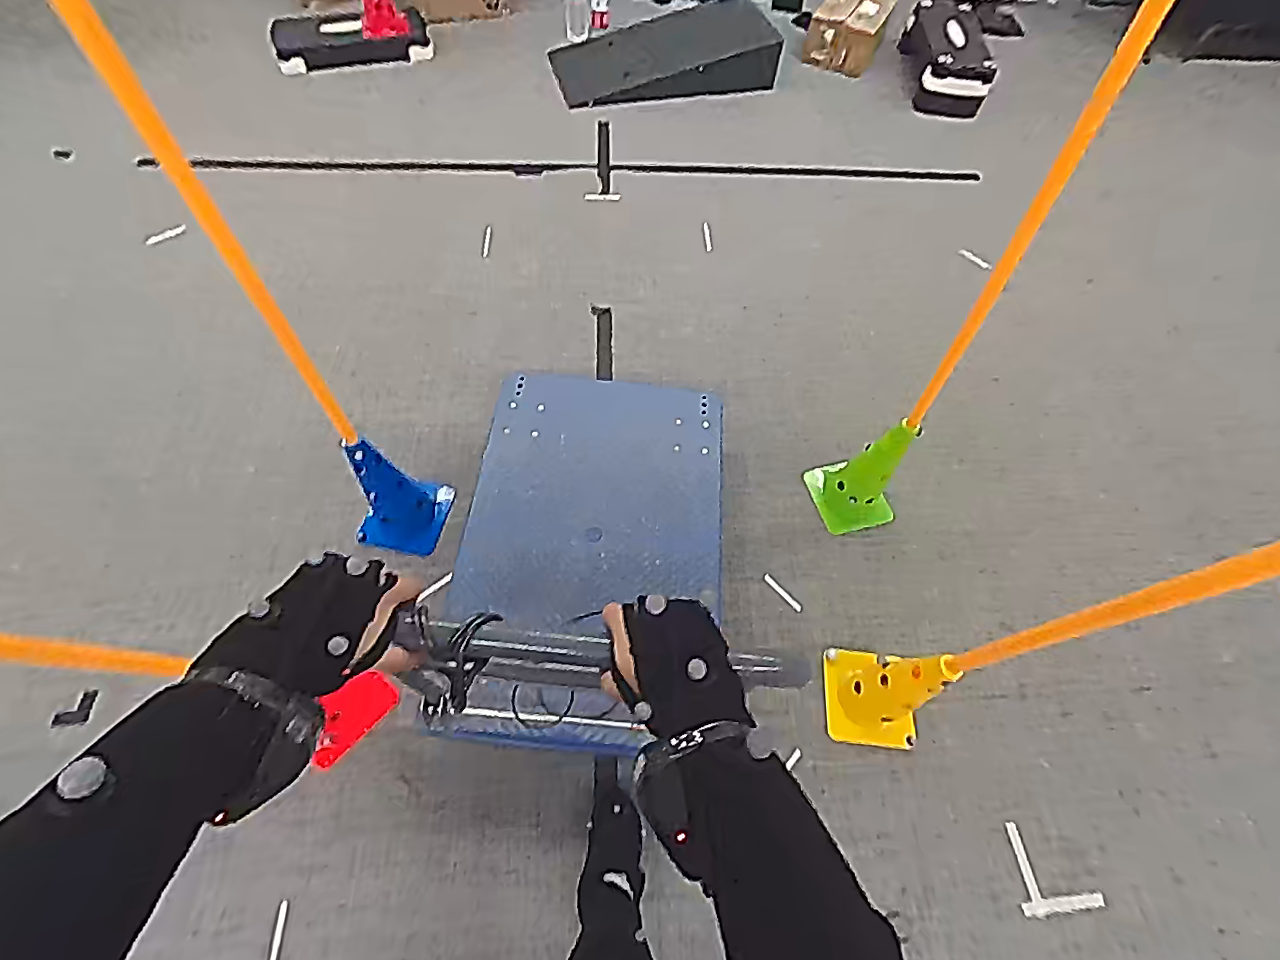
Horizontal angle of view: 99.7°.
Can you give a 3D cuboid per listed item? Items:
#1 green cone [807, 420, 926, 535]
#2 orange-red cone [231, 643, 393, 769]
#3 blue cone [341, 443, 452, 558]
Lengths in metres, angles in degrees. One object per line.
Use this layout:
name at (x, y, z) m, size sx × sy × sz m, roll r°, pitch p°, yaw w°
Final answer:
green cone at (0.589, -0.035, 1.336) m, size 0.200 × 0.368 × 0.202 m, roll -13°, pitch 63°, yaw -10°
orange-red cone at (-0.648, 0.394, 1.015) m, size 0.198 × 0.360 × 0.199 m, roll 40°, pitch 64°, yaw 17°
blue cone at (-0.588, 0.020, 1.247) m, size 0.193 × 0.380 × 0.192 m, roll 13°, pitch 61°, yaw 3°
